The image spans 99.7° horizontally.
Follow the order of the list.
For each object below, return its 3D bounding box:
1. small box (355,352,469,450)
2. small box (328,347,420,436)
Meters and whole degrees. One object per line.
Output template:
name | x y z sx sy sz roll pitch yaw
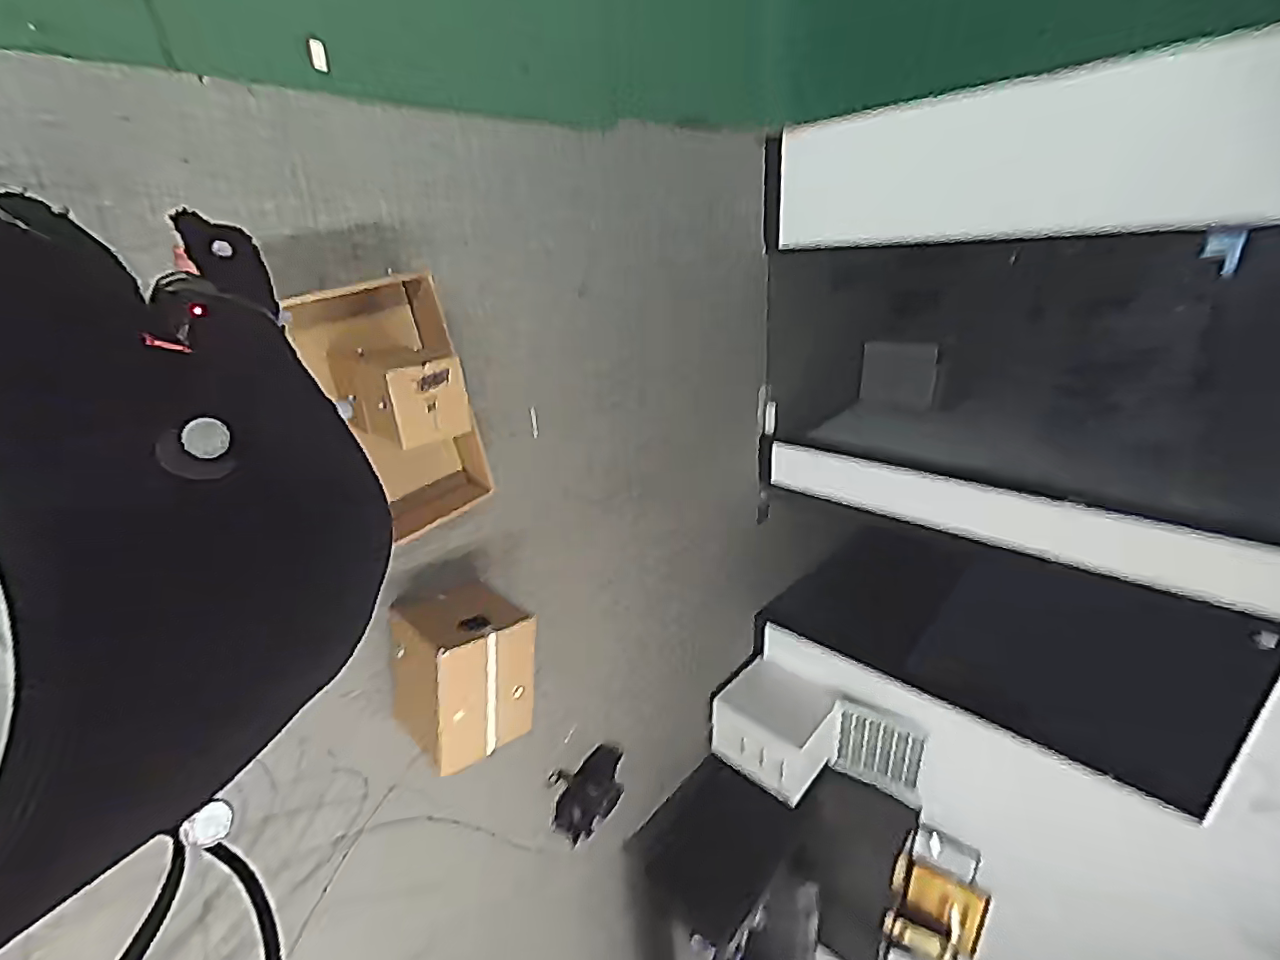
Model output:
small box | -0.514 -0.186 1.215 0.168 0.176 0.179 -26 124 -40
small box | -0.634 -0.225 1.320 0.168 0.176 0.179 -25 124 -41
